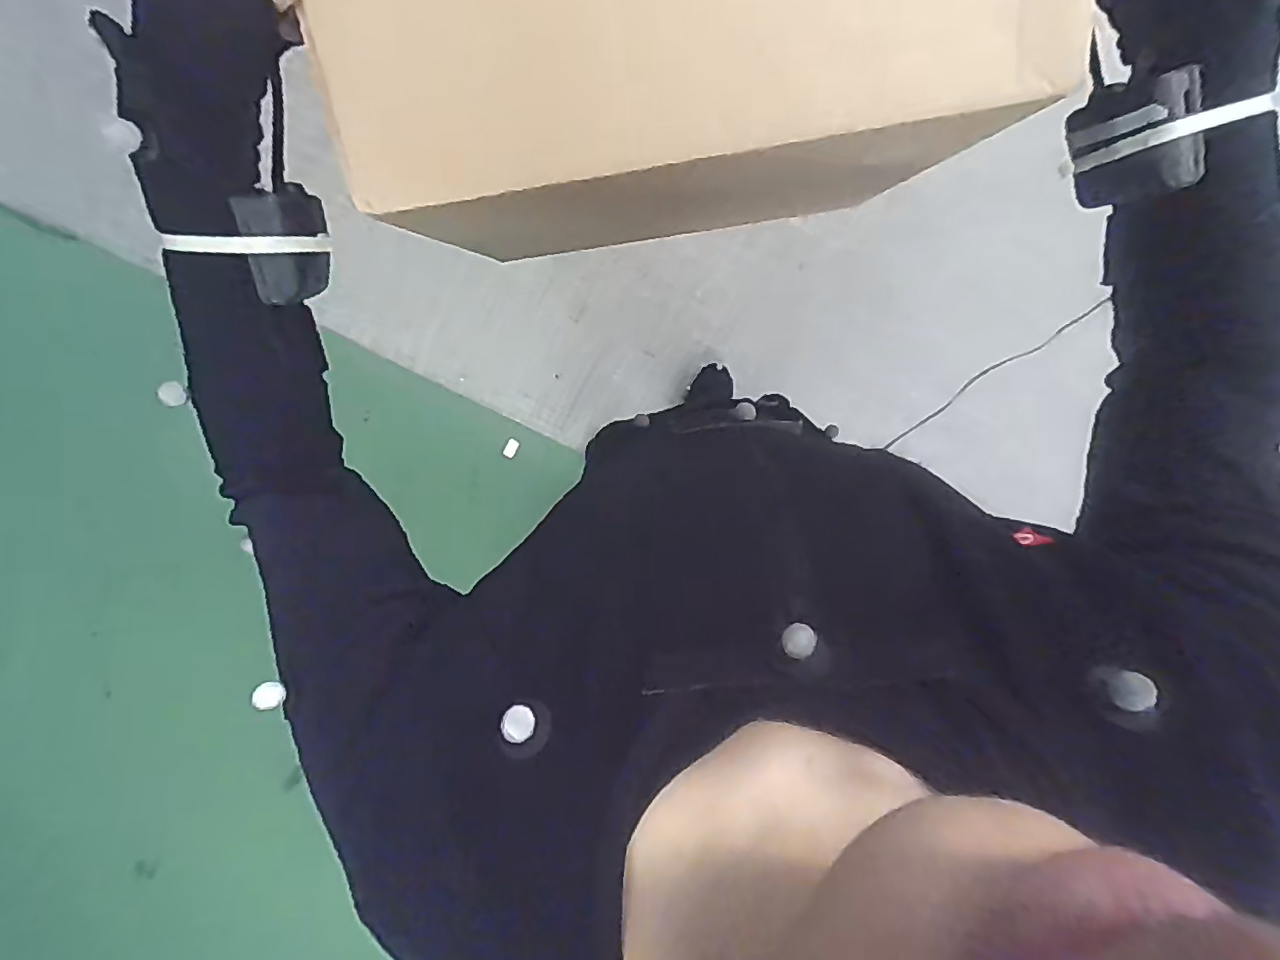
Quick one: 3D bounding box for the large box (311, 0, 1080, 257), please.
[{"bbox_3d":[0.013,-0.375,0.400,0.408,0.320,0.320,-9,107,2],"label":"large box"}]
